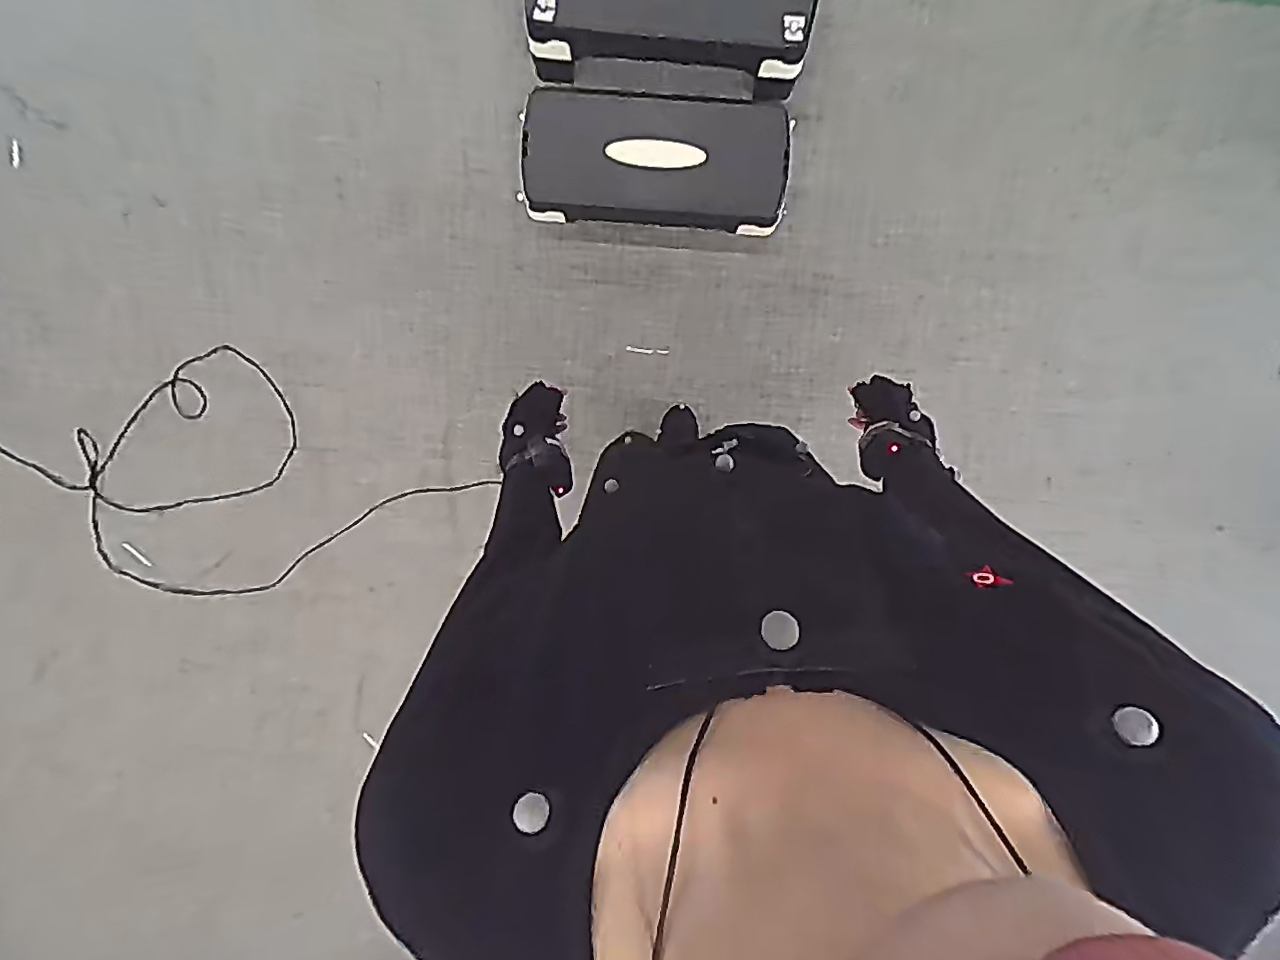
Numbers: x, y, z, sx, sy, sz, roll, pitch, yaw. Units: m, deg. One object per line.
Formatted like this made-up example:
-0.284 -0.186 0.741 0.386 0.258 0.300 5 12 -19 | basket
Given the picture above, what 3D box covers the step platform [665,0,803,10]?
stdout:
0.042 -1.155 1.061 0.684 0.204 0.286 4 97 0 | step platform
